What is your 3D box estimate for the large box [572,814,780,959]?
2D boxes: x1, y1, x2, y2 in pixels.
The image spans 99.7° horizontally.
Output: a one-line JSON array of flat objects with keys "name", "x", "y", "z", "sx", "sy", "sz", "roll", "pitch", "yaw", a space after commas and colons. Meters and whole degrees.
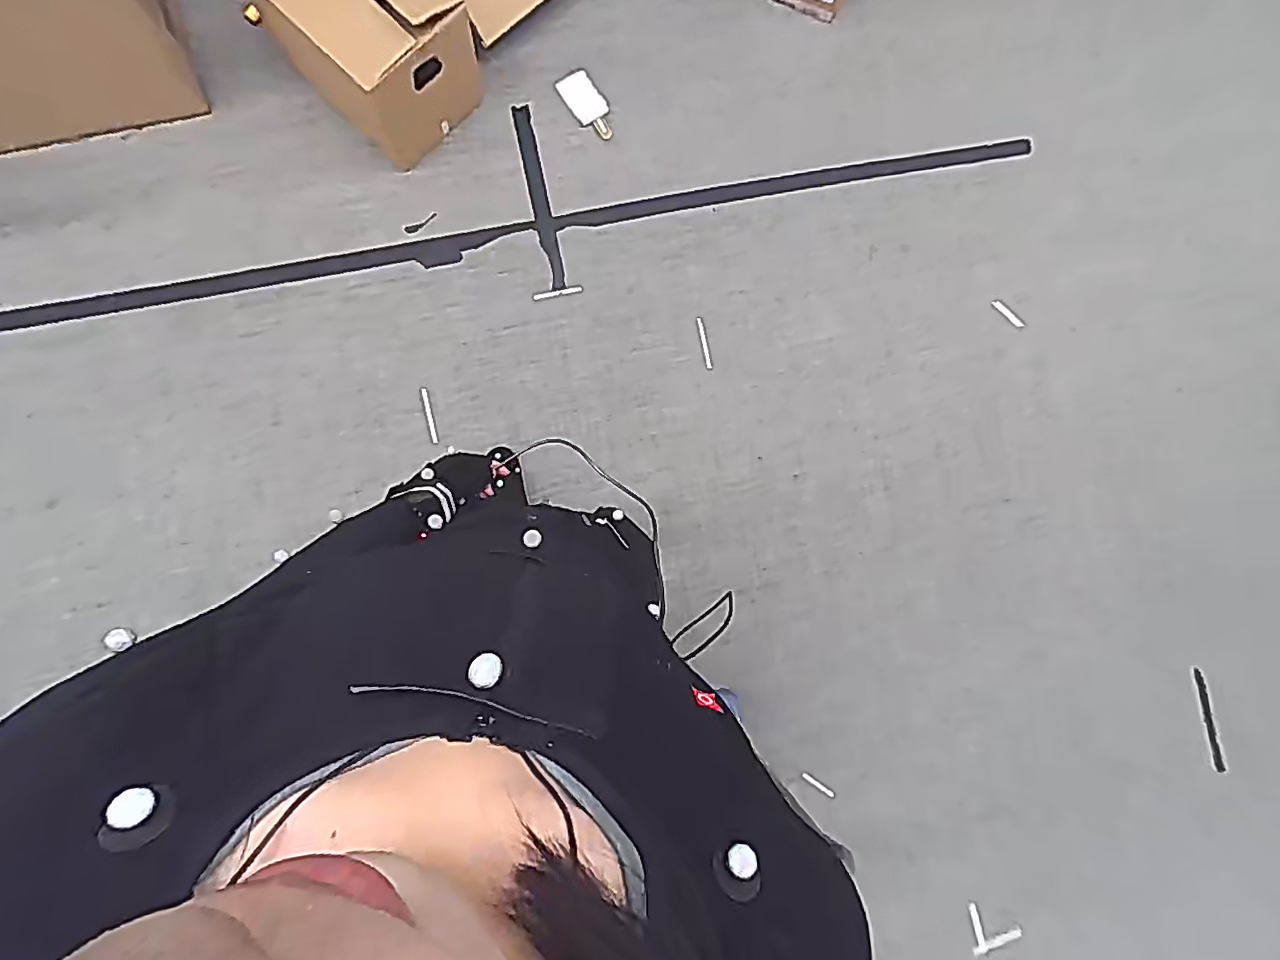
[{"name": "large box", "x": 0.079, "y": 1.039, "z": 1.209, "sx": 0.408, "sy": 0.320, "sz": 0.320, "roll": -14, "pitch": 90, "yaw": -8}]
